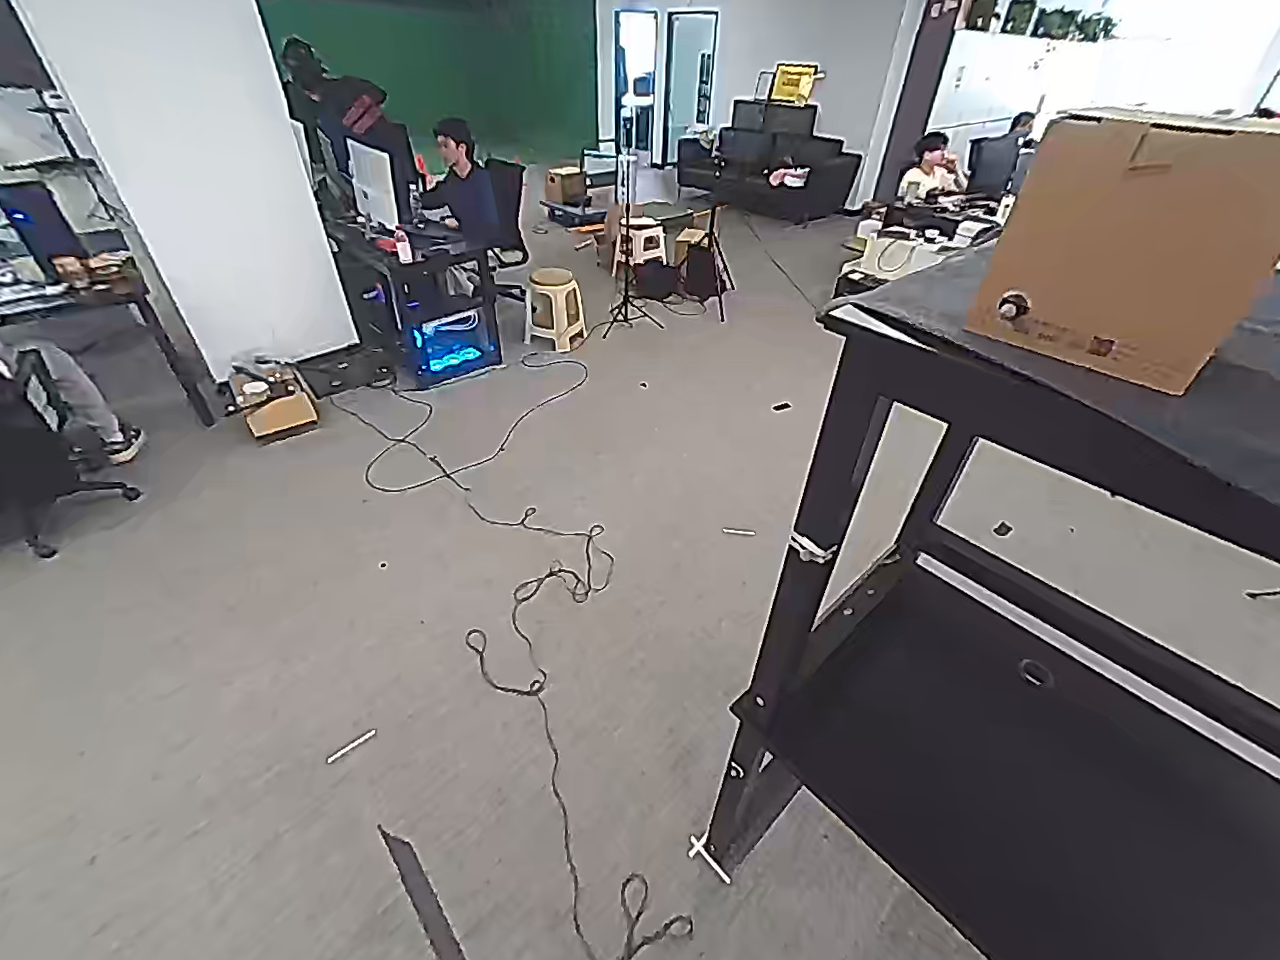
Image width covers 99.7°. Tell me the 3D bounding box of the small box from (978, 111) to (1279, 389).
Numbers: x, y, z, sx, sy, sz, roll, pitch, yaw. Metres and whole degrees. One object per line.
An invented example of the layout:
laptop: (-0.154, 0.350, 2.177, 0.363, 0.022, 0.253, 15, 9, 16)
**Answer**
small box: (0.418, -0.196, 0.449, 0.179, 0.176, 0.168, -30, 49, -34)
